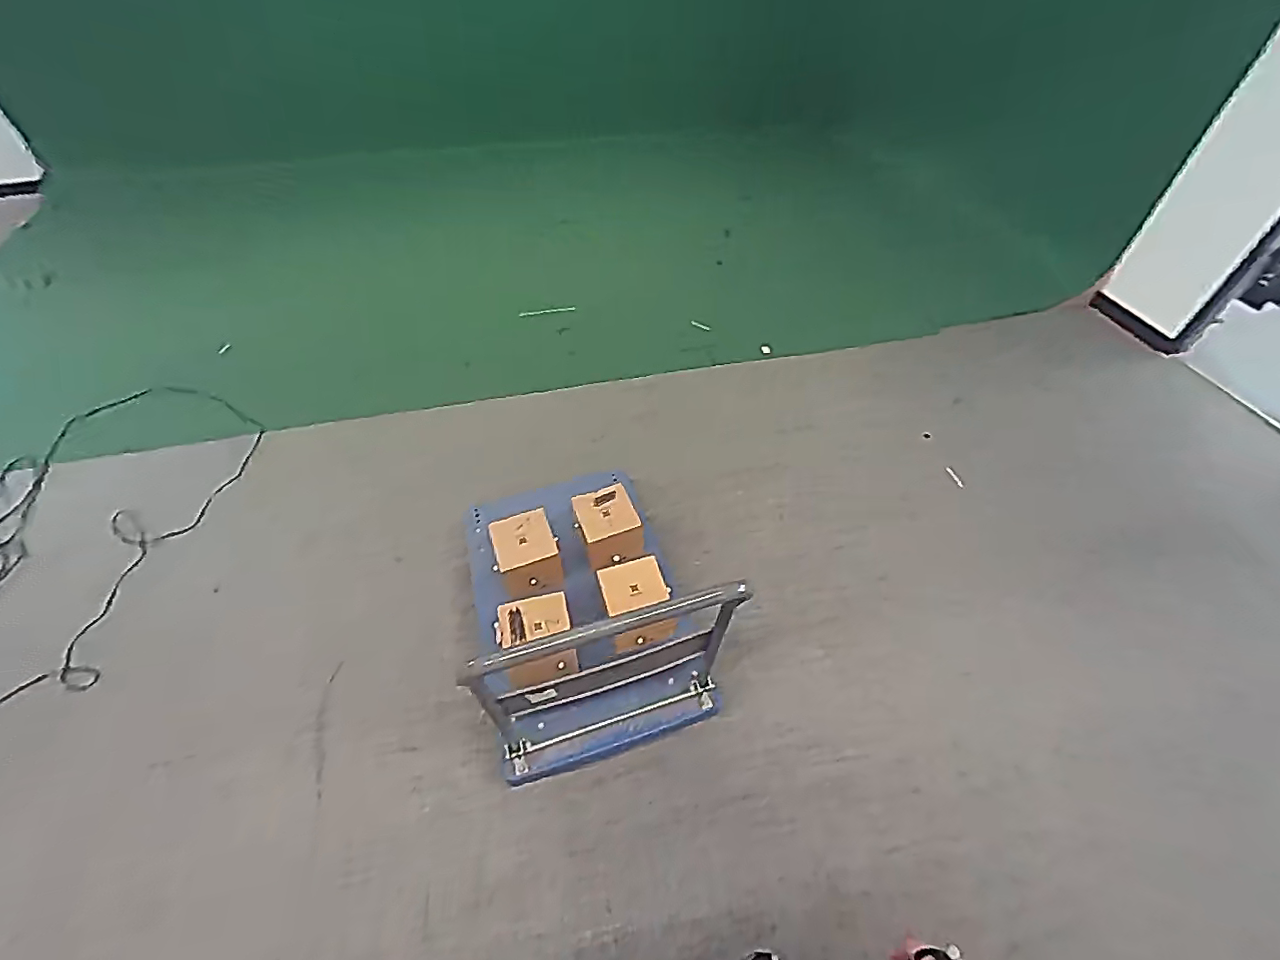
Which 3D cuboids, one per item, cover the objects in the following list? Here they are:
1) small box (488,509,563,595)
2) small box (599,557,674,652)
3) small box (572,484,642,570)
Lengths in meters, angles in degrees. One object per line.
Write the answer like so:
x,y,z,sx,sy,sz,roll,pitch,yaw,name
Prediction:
-0.333,0.219,1.591,0.168,0.176,0.179,-17,52,-14,small box
-0.014,0.342,1.488,0.168,0.176,0.179,-13,52,-11,small box
-0.100,0.145,1.652,0.168,0.176,0.179,-18,53,-13,small box
